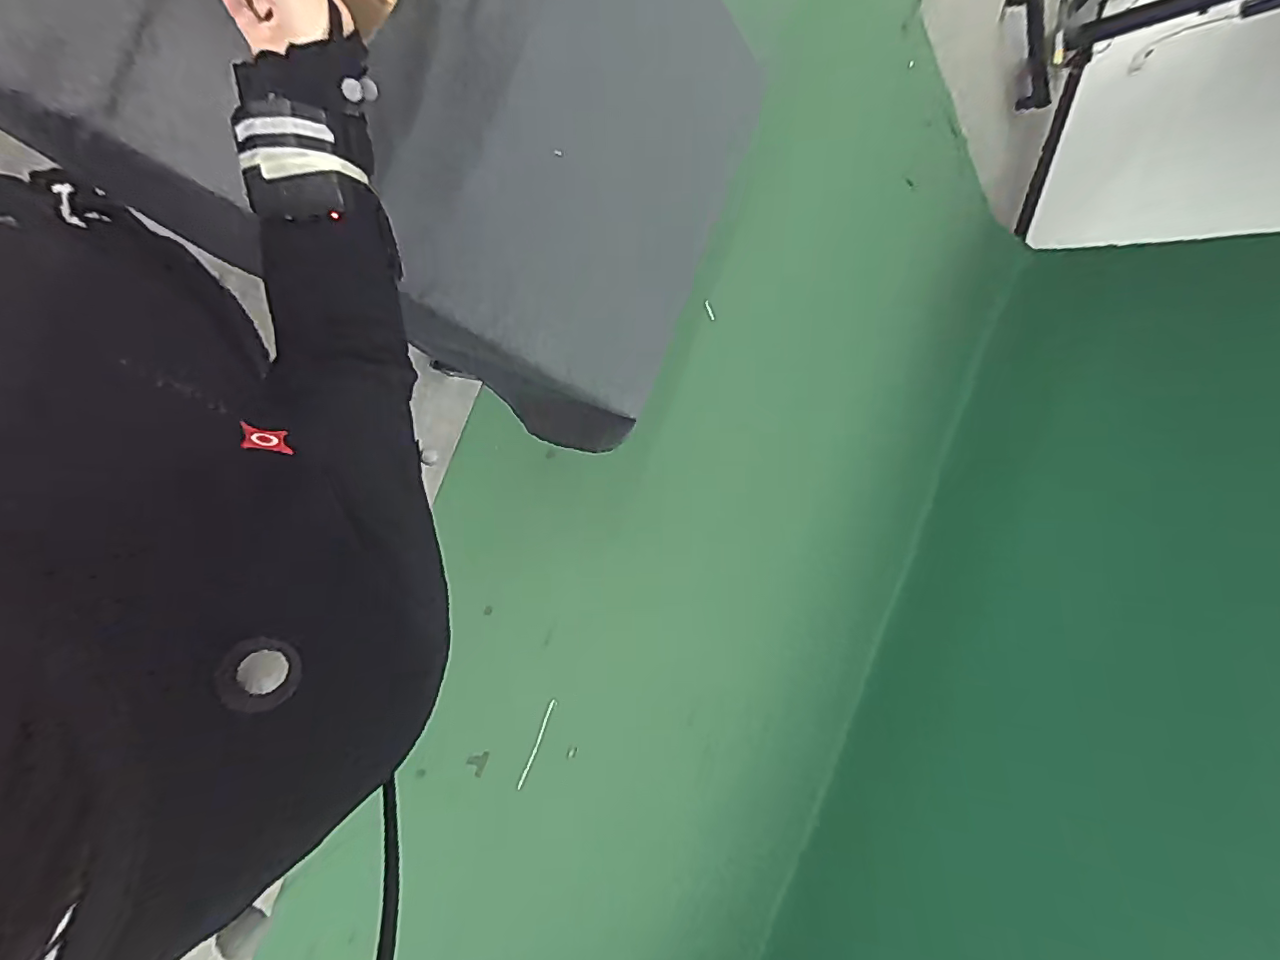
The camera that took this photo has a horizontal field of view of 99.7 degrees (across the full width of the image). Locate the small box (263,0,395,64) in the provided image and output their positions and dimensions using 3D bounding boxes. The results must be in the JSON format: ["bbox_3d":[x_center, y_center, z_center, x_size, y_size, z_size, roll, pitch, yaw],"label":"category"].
[{"bbox_3d":[-0.251,-0.478,0.415,0.168,0.176,0.179,30,81,-44],"label":"small box"}]
